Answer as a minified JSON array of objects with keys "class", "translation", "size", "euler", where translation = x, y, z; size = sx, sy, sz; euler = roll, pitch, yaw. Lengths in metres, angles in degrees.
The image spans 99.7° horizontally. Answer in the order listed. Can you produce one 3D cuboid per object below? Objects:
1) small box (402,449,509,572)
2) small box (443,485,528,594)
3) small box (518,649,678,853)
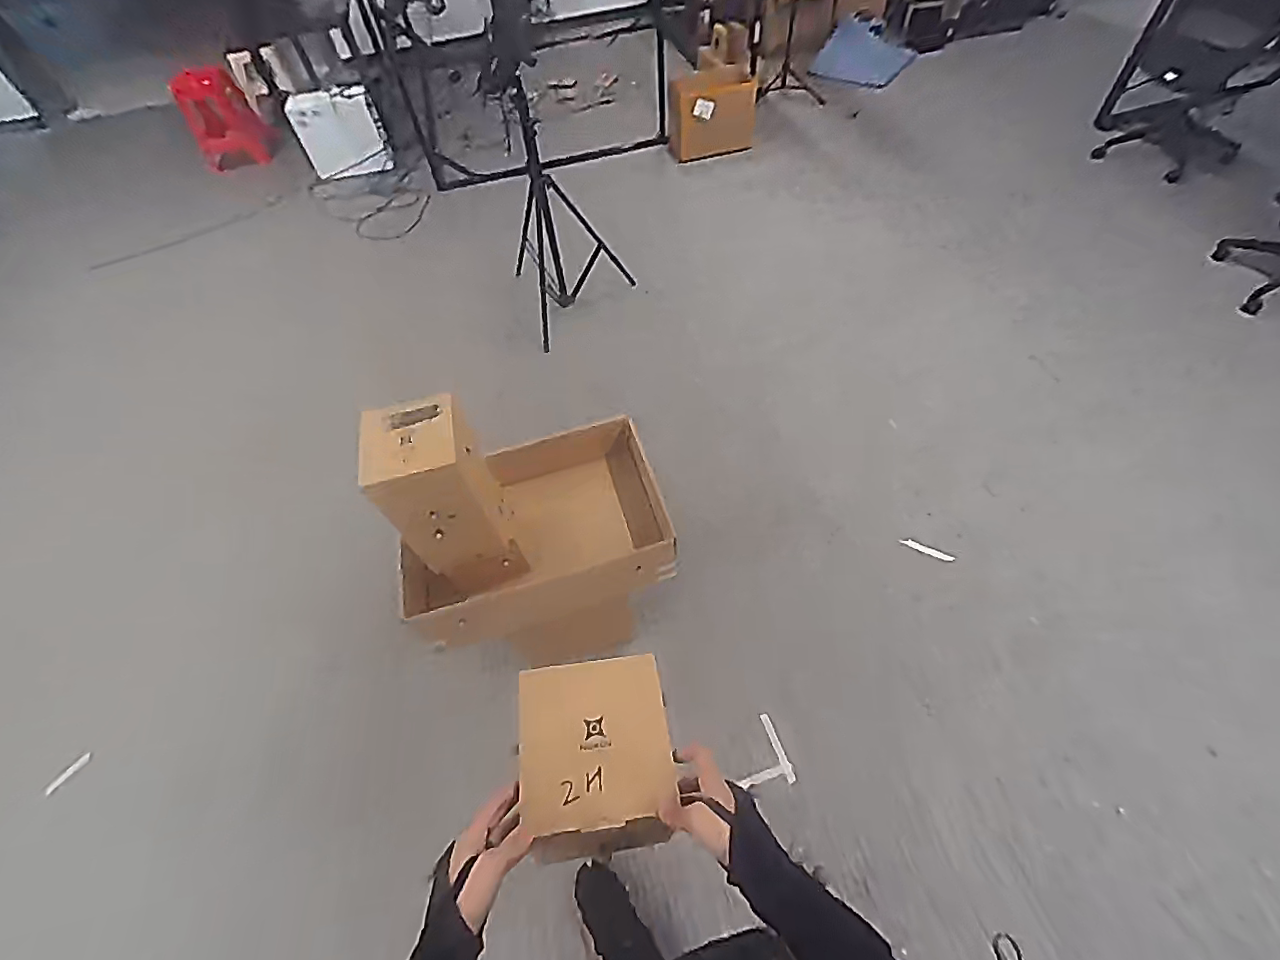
[{"class":"small box","translation":[-0.387,0.067,1.142],"size":[0.168,0.176,0.179],"euler":[-16,54,-5]},{"class":"small box","translation":[-0.378,0.145,1.286],"size":[0.179,0.176,0.168],"euler":[-21,55,-8]},{"class":"small box","translation":[-0.056,0.329,0.658],"size":[0.168,0.176,0.179],"euler":[-5,50,-7]}]
